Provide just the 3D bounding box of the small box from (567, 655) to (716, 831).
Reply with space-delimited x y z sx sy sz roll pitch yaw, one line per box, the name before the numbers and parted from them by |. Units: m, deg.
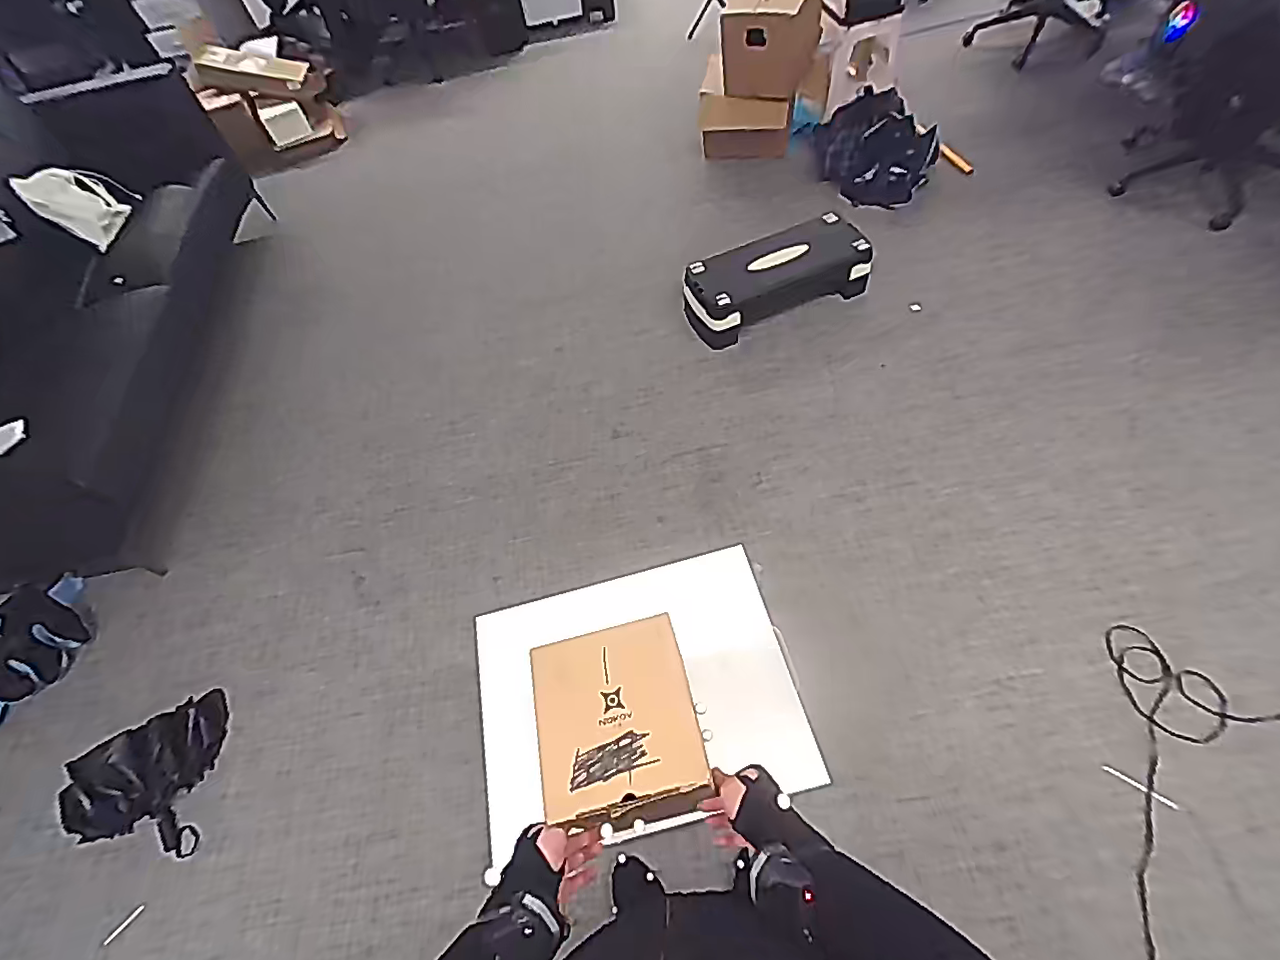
small box | 0.005 0.375 0.764 0.168 0.176 0.179 -16 55 -1
